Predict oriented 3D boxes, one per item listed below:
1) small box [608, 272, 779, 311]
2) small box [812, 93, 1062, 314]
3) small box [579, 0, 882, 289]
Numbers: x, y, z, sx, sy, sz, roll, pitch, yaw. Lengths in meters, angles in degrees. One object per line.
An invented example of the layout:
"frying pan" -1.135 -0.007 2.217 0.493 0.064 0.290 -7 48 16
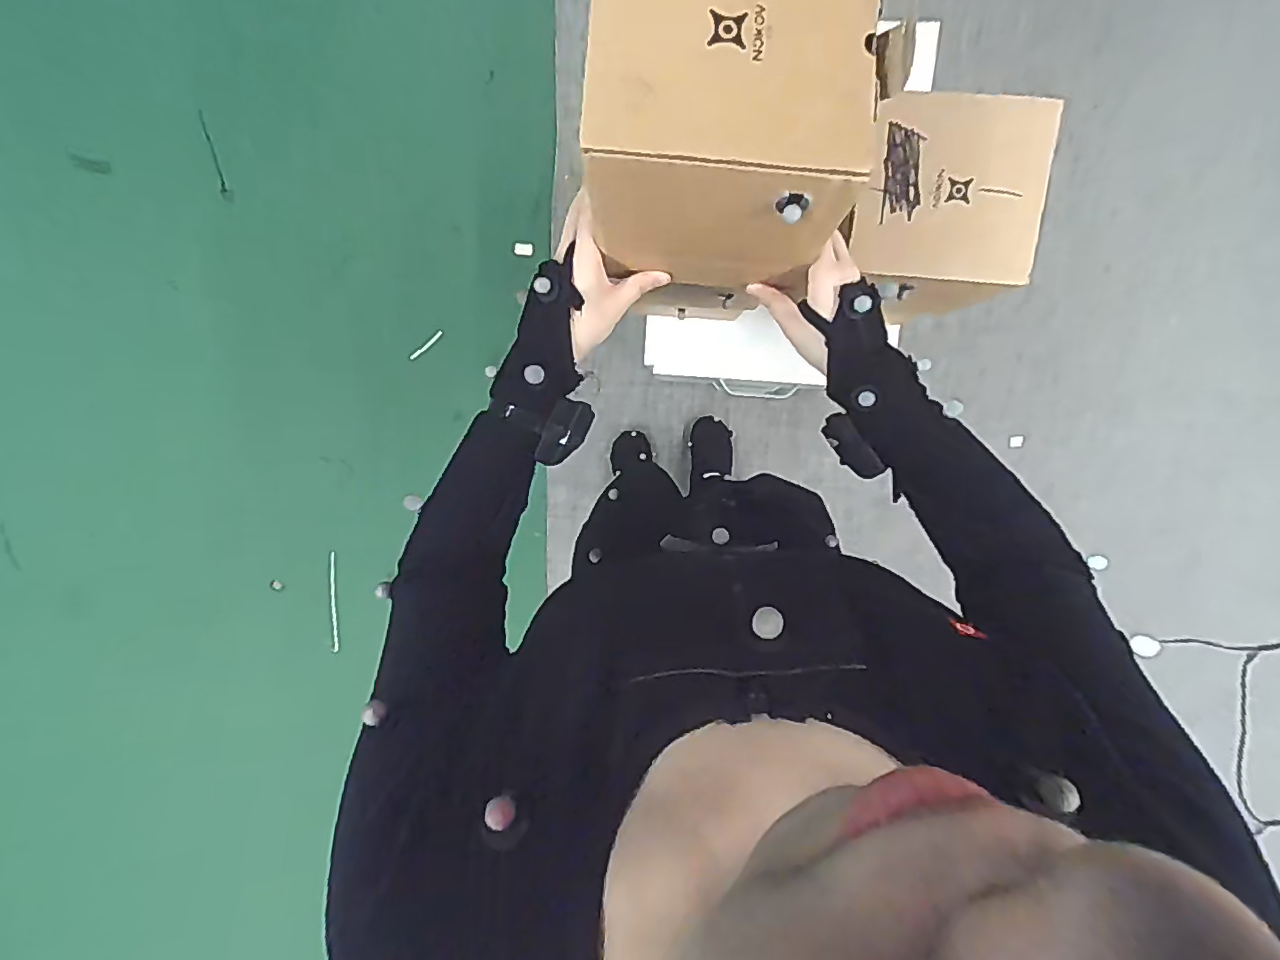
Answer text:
"small box" 0.063 -0.289 0.604 0.179 0.176 0.168 3 97 3
"small box" 0.298 -0.282 0.587 0.179 0.176 0.168 6 98 4
"small box" 0.055 -0.257 0.401 0.179 0.176 0.168 5 86 -2
